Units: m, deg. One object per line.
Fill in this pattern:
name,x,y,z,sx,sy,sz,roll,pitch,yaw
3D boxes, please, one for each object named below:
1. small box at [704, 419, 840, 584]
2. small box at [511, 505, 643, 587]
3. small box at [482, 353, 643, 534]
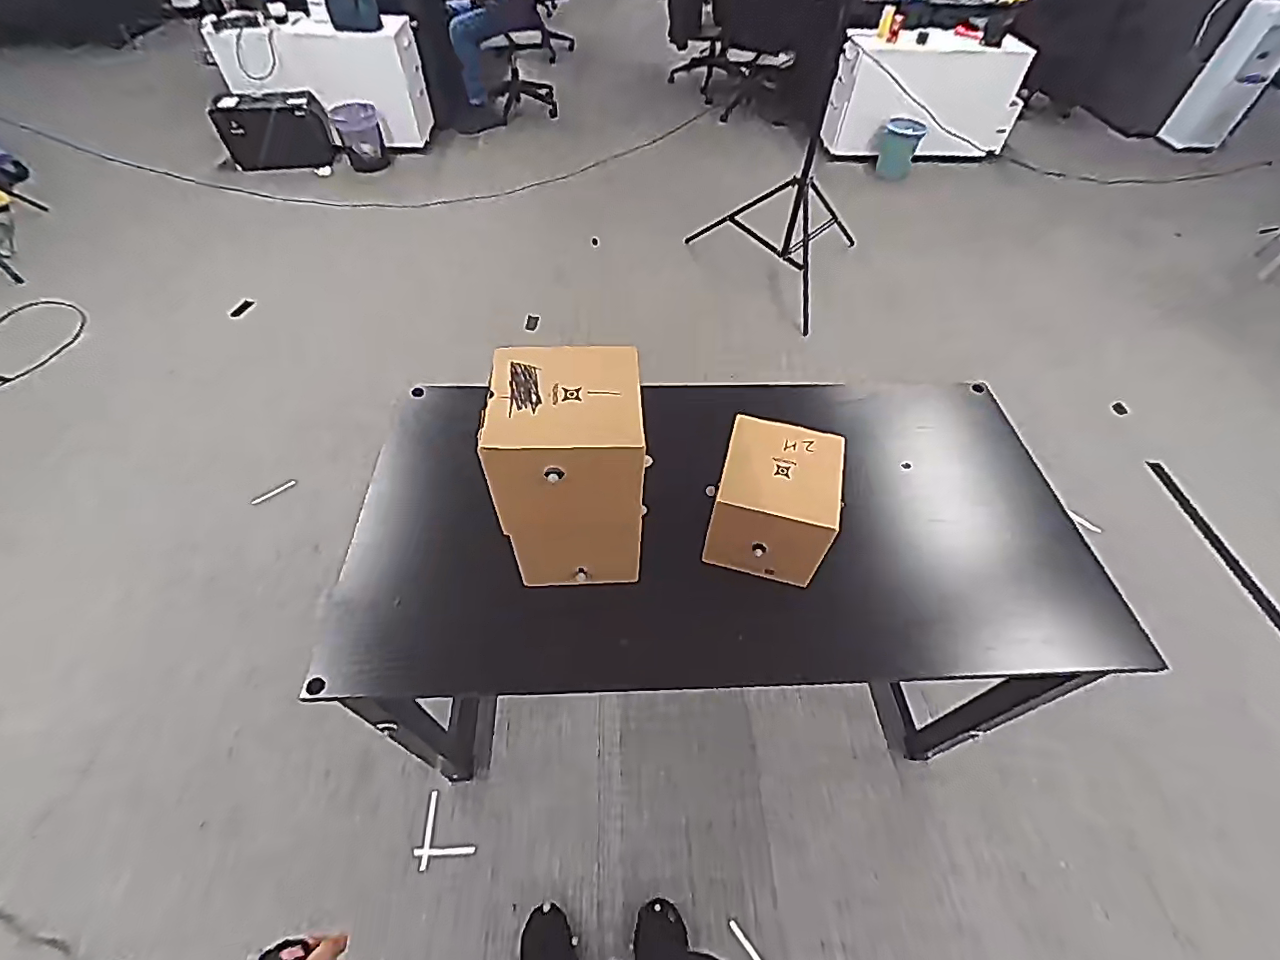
small box,0.200,0.037,0.844,0.168,0.176,0.179,14,52,8
small box,-0.092,0.051,0.824,0.179,0.176,0.168,-2,52,-4
small box,-0.087,-0.042,0.686,0.179,0.176,0.168,-1,52,-3
